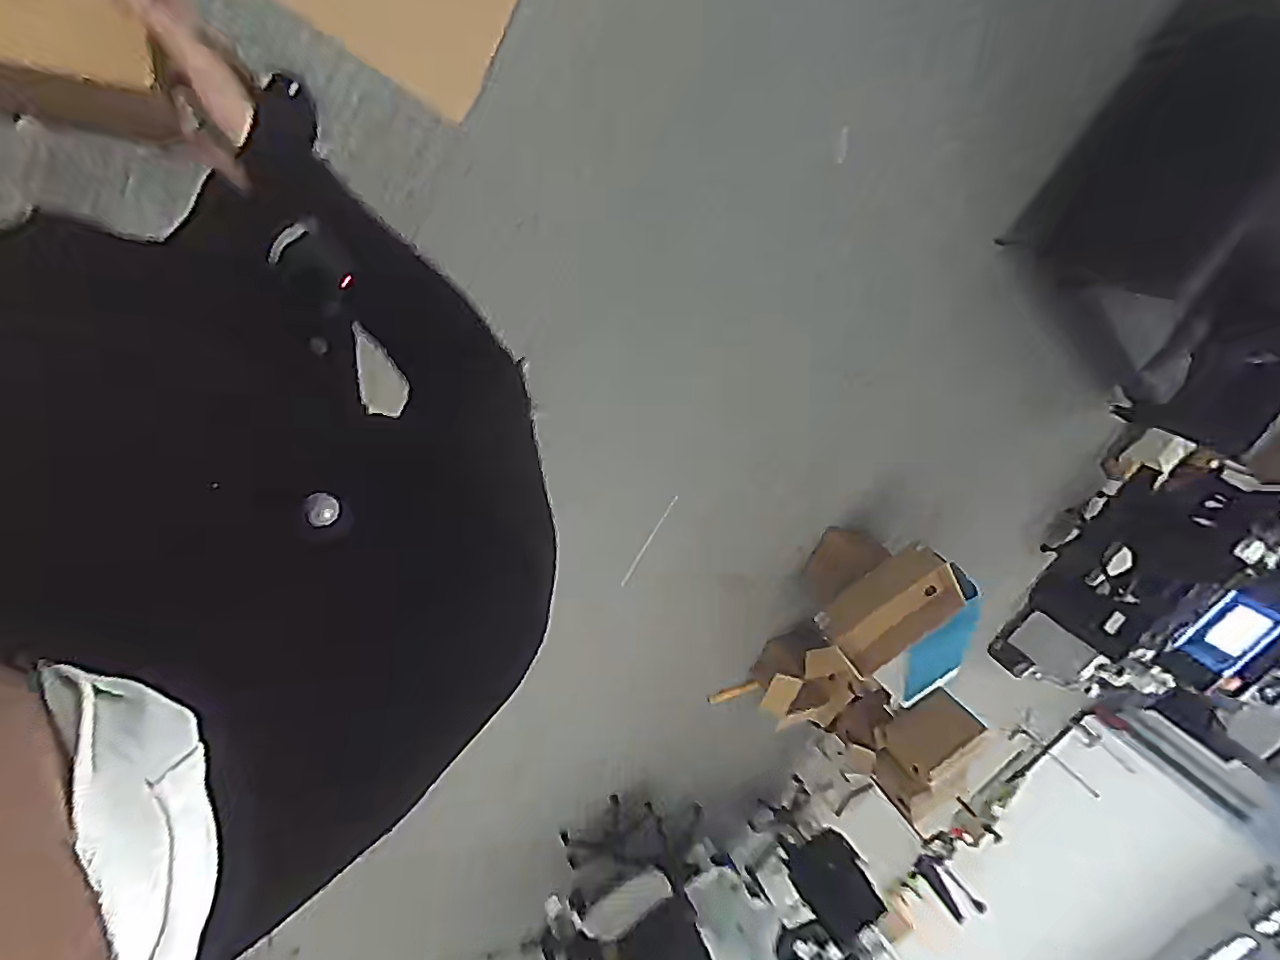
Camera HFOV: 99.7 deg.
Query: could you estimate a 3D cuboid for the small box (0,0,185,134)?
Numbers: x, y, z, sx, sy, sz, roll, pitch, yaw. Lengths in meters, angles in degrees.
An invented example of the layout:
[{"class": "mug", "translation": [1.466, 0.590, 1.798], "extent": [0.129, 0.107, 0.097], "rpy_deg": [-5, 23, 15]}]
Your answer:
[{"class": "small box", "translation": [-0.452, -0.383, 0.386], "extent": [0.168, 0.176, 0.179], "rpy_deg": [-7, 108, -32]}]
